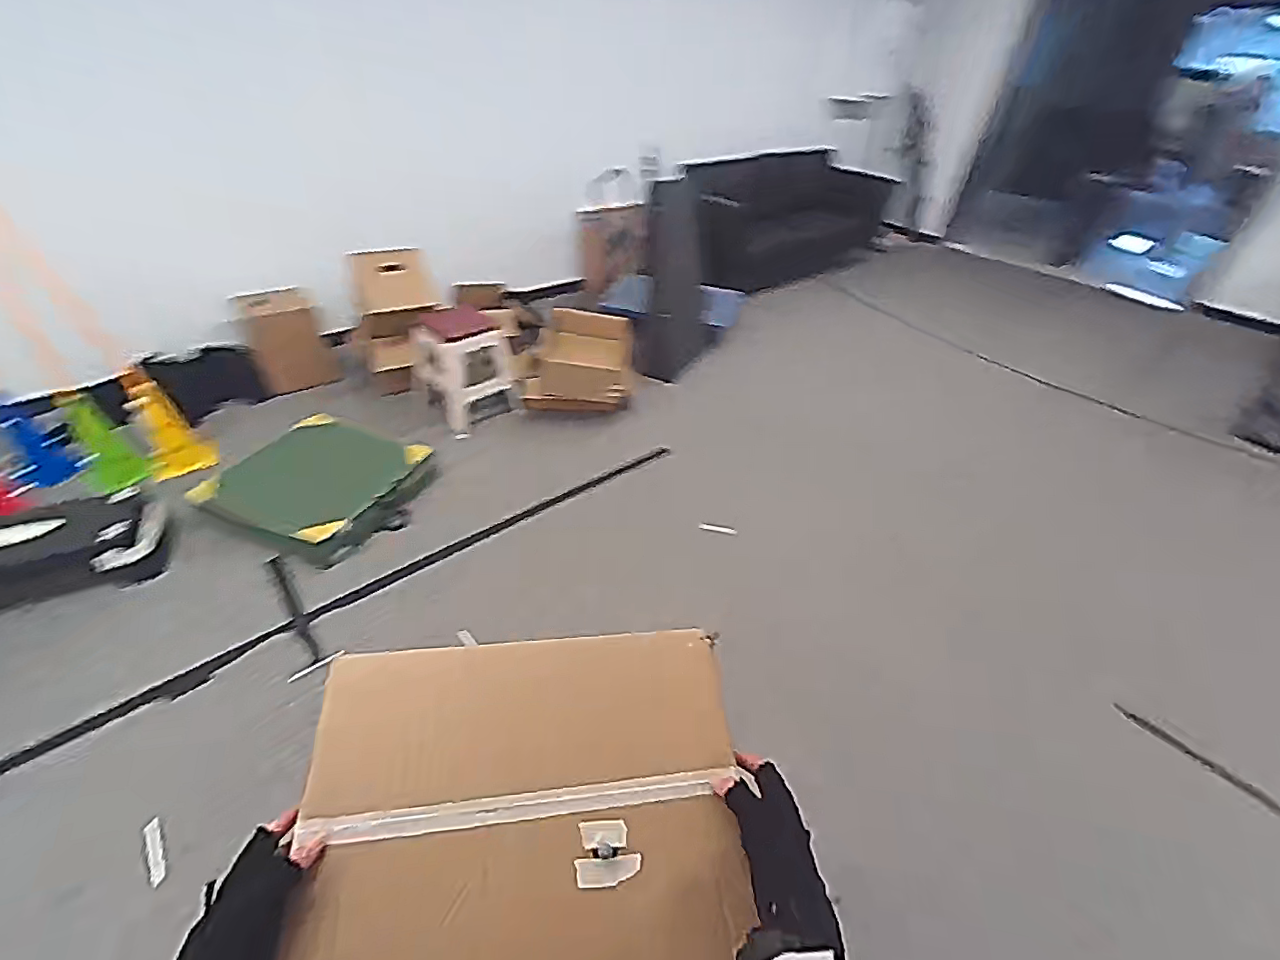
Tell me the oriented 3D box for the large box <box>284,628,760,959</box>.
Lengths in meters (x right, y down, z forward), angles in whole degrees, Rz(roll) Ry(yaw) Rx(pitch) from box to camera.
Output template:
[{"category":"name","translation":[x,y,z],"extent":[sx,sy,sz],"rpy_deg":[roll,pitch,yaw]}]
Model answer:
[{"category":"large box","translation":[-0.127,0.397,0.642],"extent":[0.408,0.320,0.320],"rpy_deg":[-2,55,-10]}]
